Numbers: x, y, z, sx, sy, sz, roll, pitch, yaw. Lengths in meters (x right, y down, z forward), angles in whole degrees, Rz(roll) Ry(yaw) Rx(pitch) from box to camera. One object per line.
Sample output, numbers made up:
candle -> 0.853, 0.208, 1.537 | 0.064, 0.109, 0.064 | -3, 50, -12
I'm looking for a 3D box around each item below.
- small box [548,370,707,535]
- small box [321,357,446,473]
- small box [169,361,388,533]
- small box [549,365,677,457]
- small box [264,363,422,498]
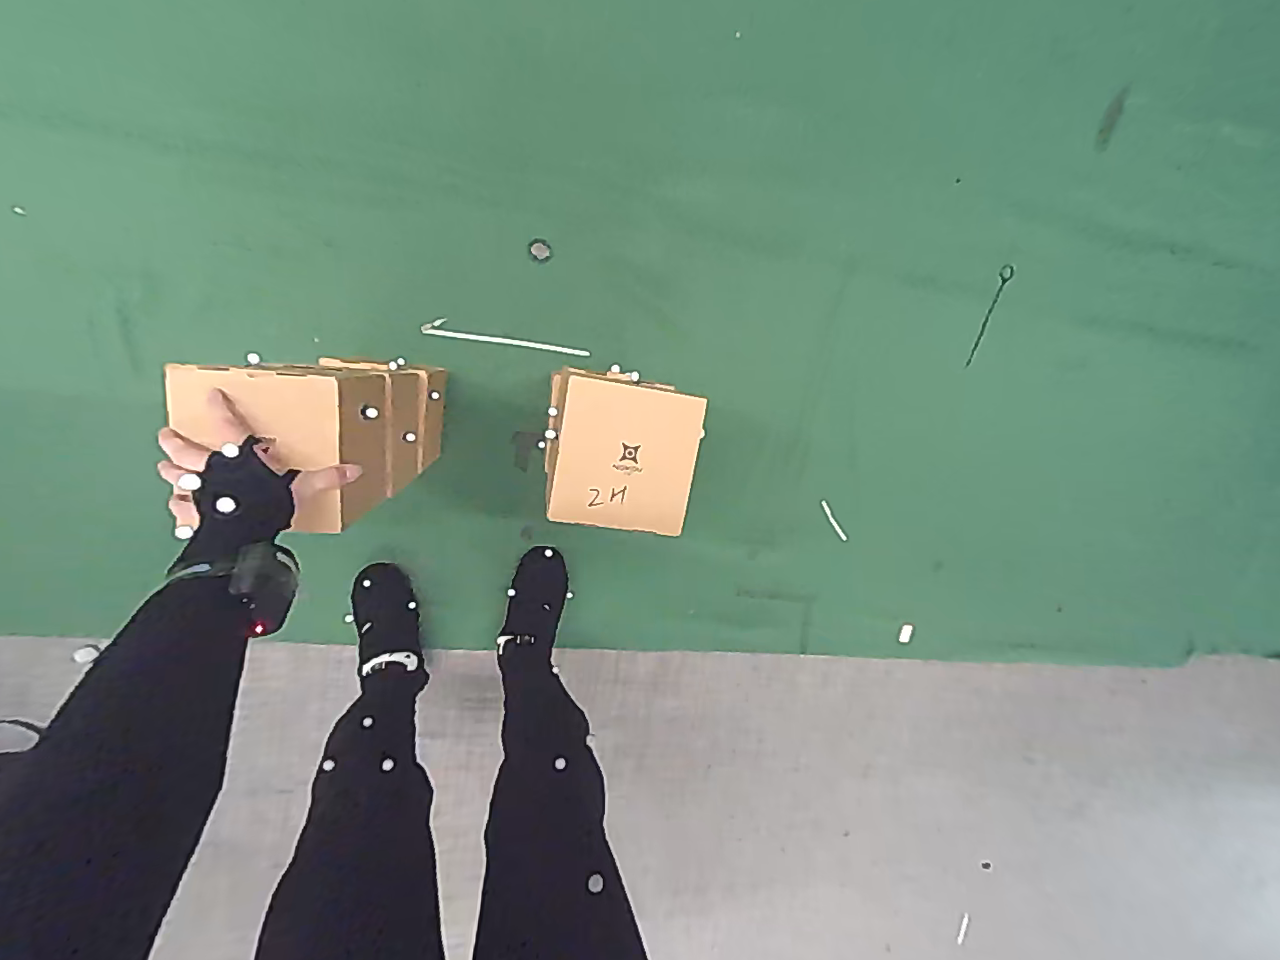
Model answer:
small box -> -0.028, -0.044, 0.710 | 0.168, 0.176, 0.179 | 8, 102, -12
small box -> -0.450, -0.120, 0.966 | 0.168, 0.176, 0.179 | 6, 100, -10
small box -> -0.415, -0.045, 0.650 | 0.168, 0.176, 0.179 | 3, 101, -9
small box -> -0.053, -0.084, 0.869 | 0.168, 0.176, 0.179 | 8, 101, -12
small box -> -0.432, -0.080, 0.808 | 0.168, 0.176, 0.179 | 3, 102, -9
